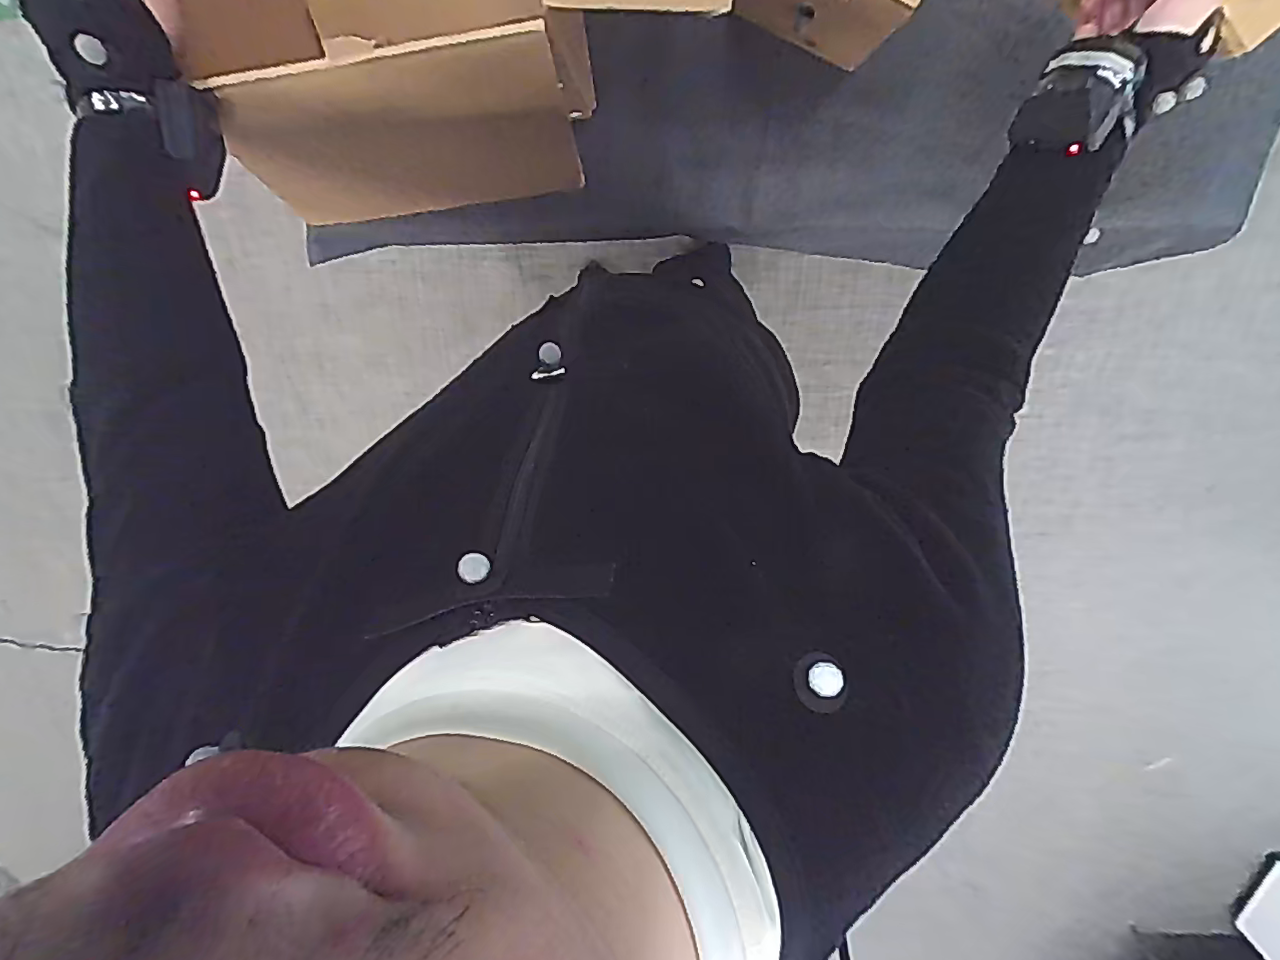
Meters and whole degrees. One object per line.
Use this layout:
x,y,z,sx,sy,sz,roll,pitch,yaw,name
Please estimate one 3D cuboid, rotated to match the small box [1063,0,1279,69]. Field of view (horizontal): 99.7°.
0.458,-0.466,0.423,0.168,0.176,0.179,36,118,-19,small box
